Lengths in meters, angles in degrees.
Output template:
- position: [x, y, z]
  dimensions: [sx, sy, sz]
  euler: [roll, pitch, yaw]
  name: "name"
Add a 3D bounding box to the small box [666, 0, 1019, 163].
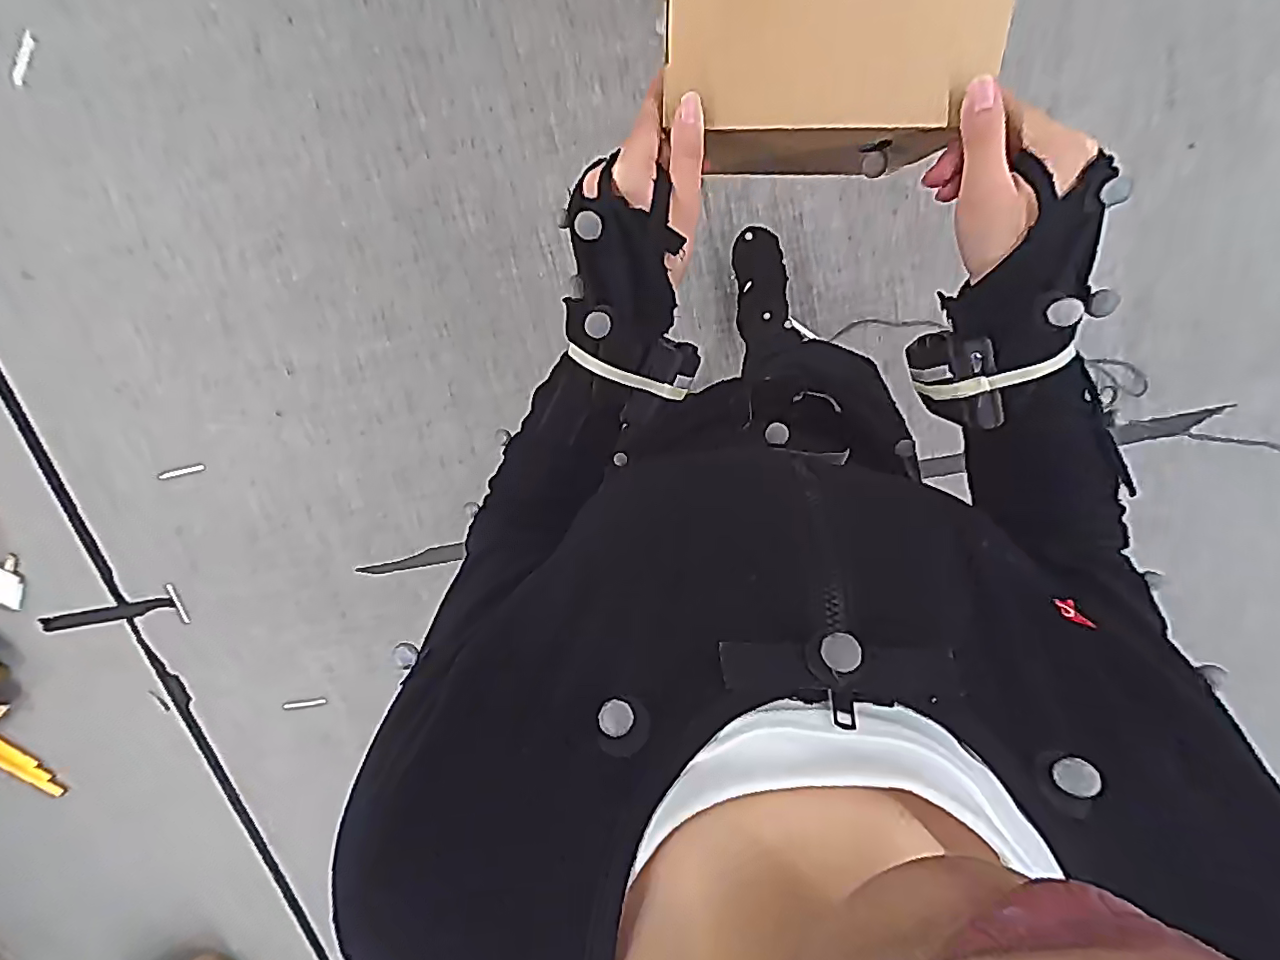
- position: [0.110, -0.306, 0.335]
  dimensions: [0.179, 0.176, 0.168]
  euler: [3, 112, 6]
  name: "small box"
